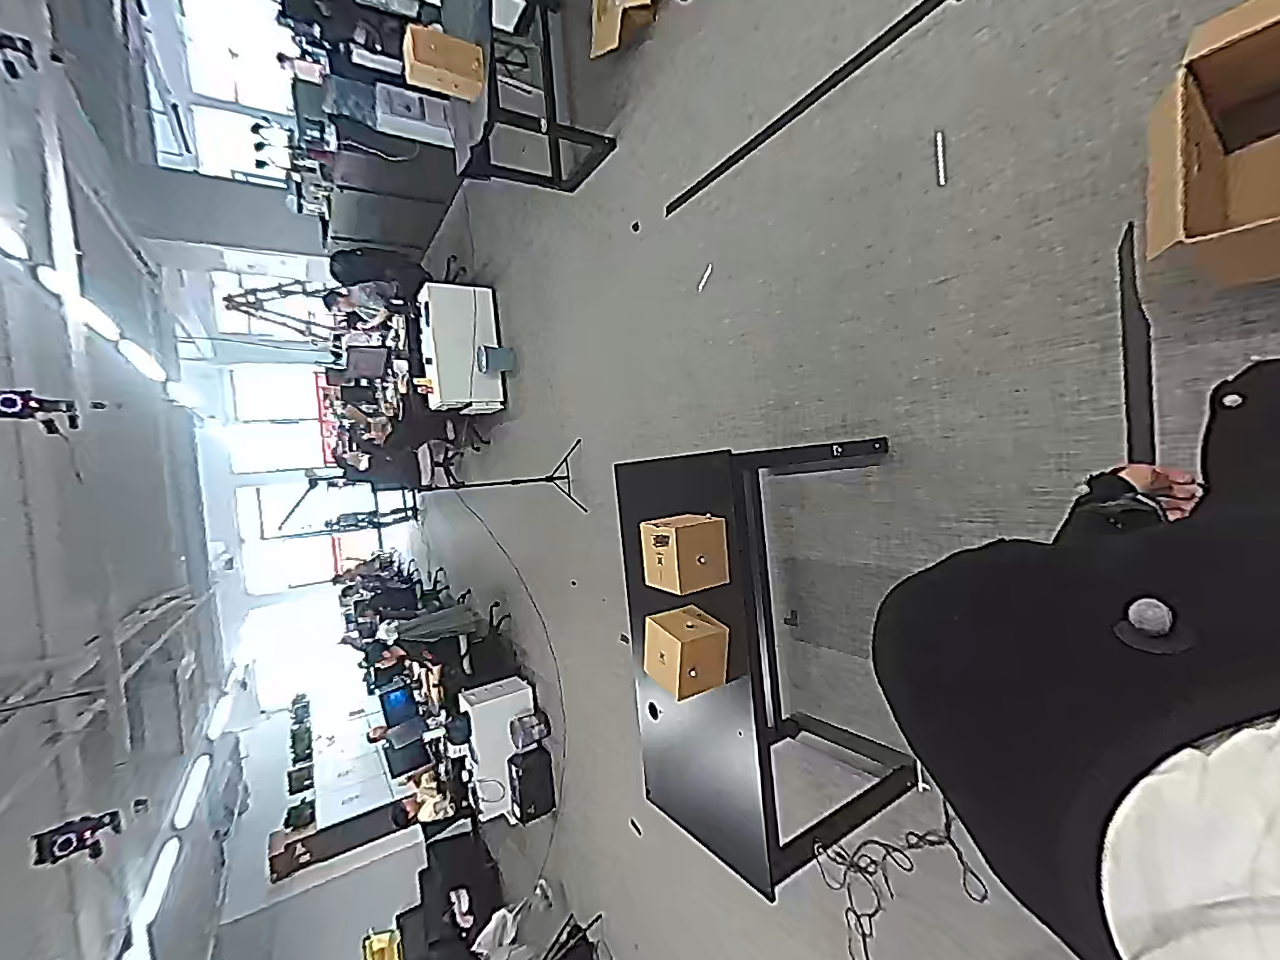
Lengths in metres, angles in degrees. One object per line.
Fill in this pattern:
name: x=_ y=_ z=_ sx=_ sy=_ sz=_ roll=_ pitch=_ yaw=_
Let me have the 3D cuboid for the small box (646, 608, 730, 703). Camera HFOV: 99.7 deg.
small box: x=0.134 y=0.476 z=1.502 sx=0.168 sy=0.176 sz=0.179 roll=21 pitch=113 yaw=56

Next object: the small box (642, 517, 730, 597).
small box: x=0.125 y=0.199 z=1.461 sx=0.168 sy=0.176 sz=0.179 roll=1 pitch=97 yaw=58
